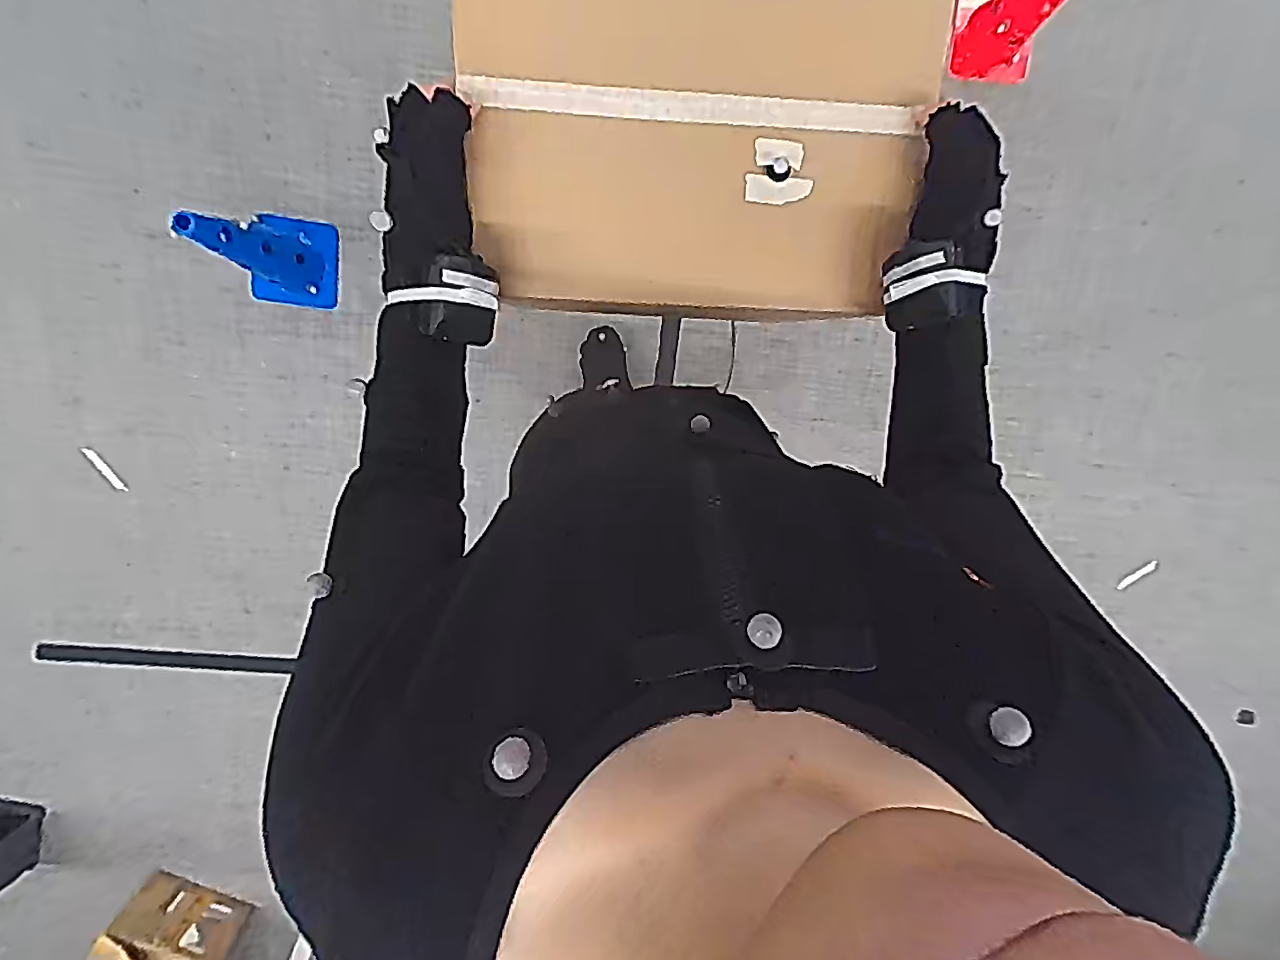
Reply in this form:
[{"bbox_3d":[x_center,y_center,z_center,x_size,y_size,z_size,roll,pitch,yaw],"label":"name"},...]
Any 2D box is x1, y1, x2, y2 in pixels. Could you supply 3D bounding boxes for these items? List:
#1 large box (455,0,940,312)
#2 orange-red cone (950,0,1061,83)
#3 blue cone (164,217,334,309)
[{"bbox_3d":[0.036,-0.359,0.599,0.408,0.320,0.320,1,105,-5],"label":"large box"},{"bbox_3d":[0.864,-1.048,1.138,0.198,0.360,0.199,2,100,-5],"label":"orange-red cone"},{"bbox_3d":[-0.836,-0.490,1.153,0.192,0.380,0.193,8,100,-4],"label":"blue cone"}]
